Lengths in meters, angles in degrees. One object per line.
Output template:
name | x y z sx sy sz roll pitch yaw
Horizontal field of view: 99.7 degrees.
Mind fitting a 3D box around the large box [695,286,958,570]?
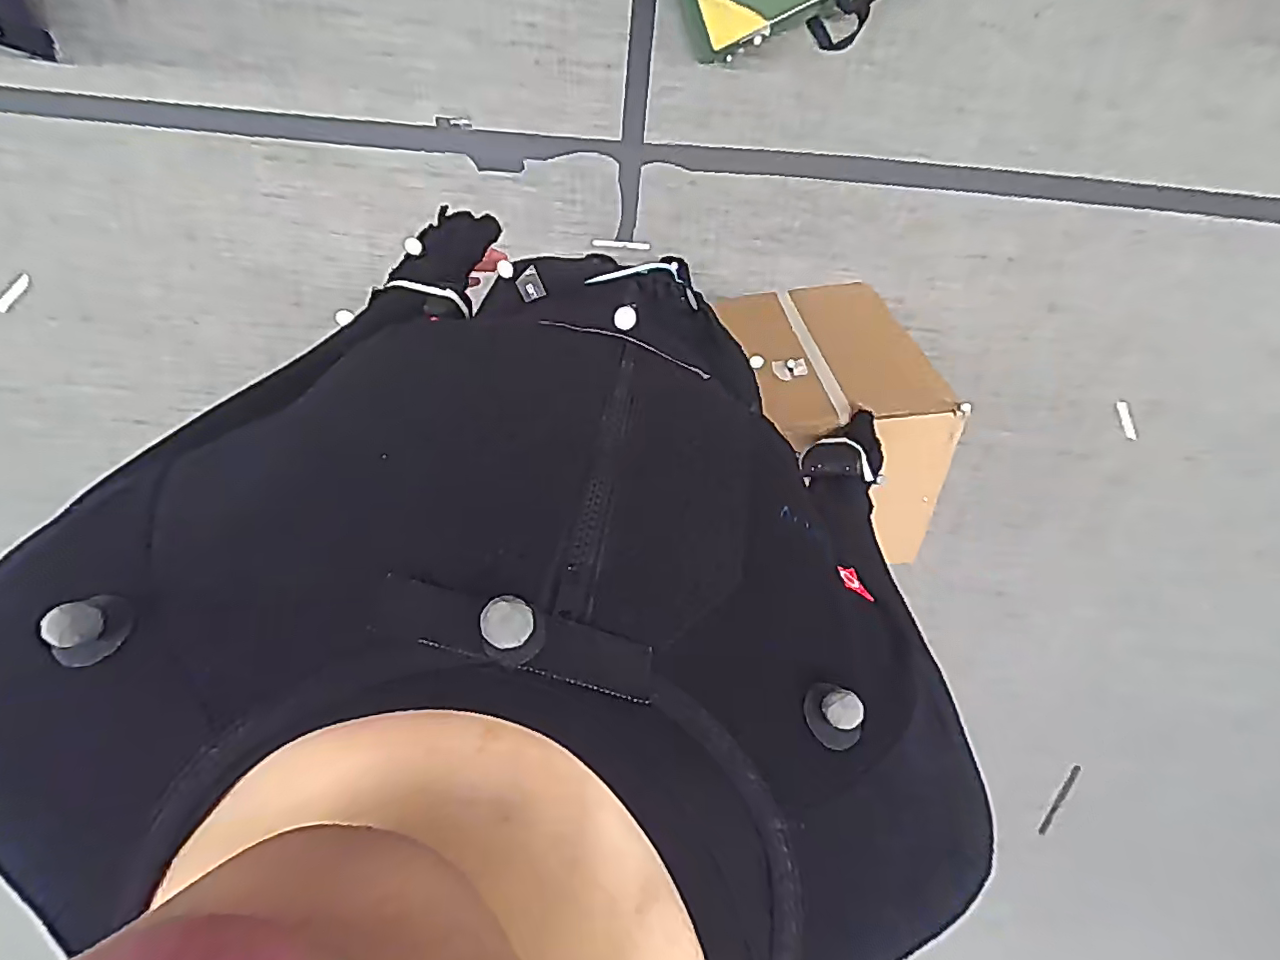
large box | 0.281 -0.100 0.969 0.320 0.408 0.320 -7 134 4
